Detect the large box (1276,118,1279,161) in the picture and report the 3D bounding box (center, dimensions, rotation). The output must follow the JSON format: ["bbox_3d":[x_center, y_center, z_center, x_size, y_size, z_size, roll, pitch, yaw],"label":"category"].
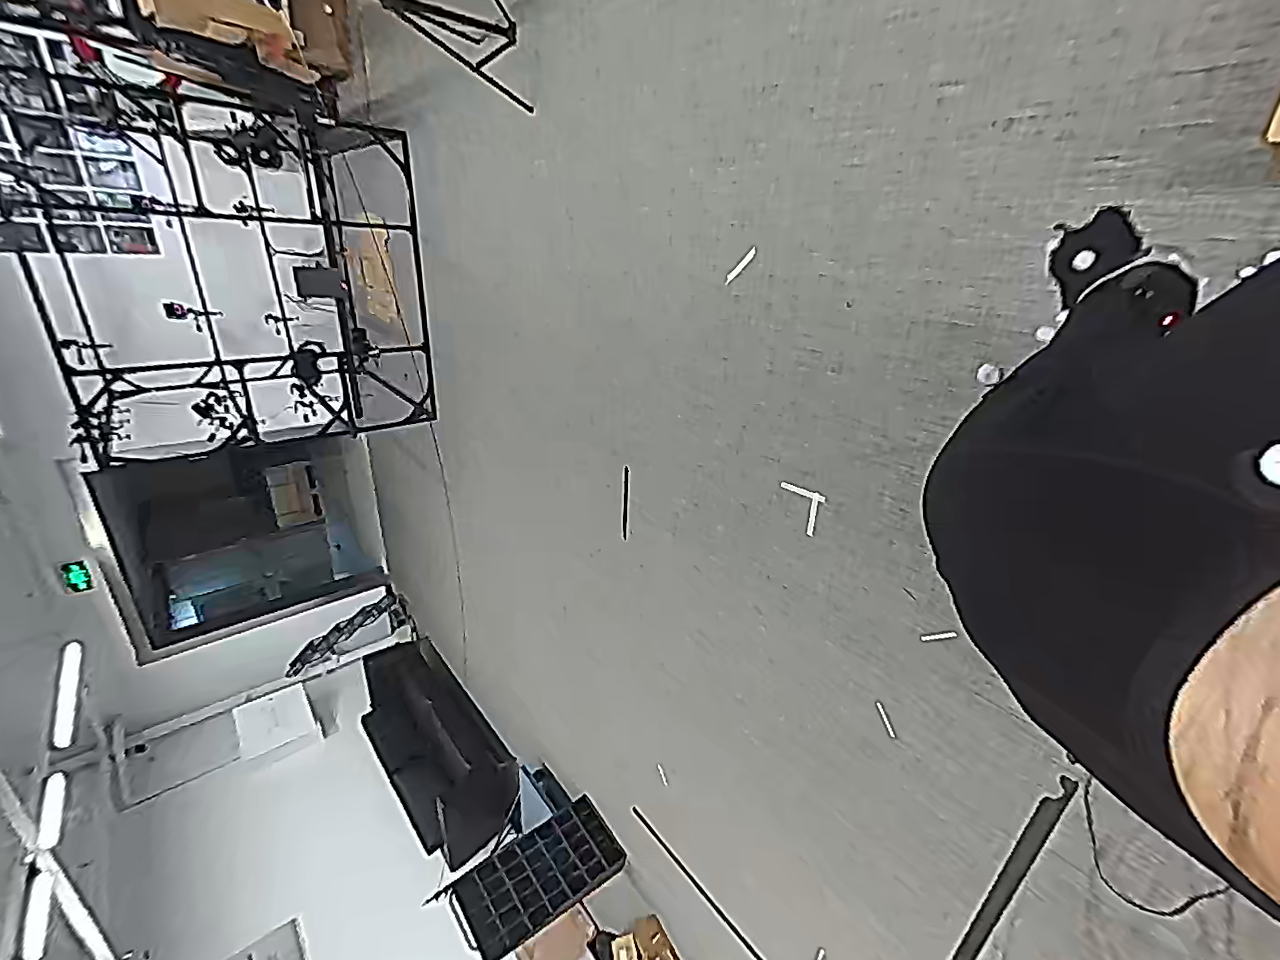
[{"bbox_3d":[1.122,-0.599,0.650,0.408,0.320,0.320,24,122,44],"label":"large box"}]
